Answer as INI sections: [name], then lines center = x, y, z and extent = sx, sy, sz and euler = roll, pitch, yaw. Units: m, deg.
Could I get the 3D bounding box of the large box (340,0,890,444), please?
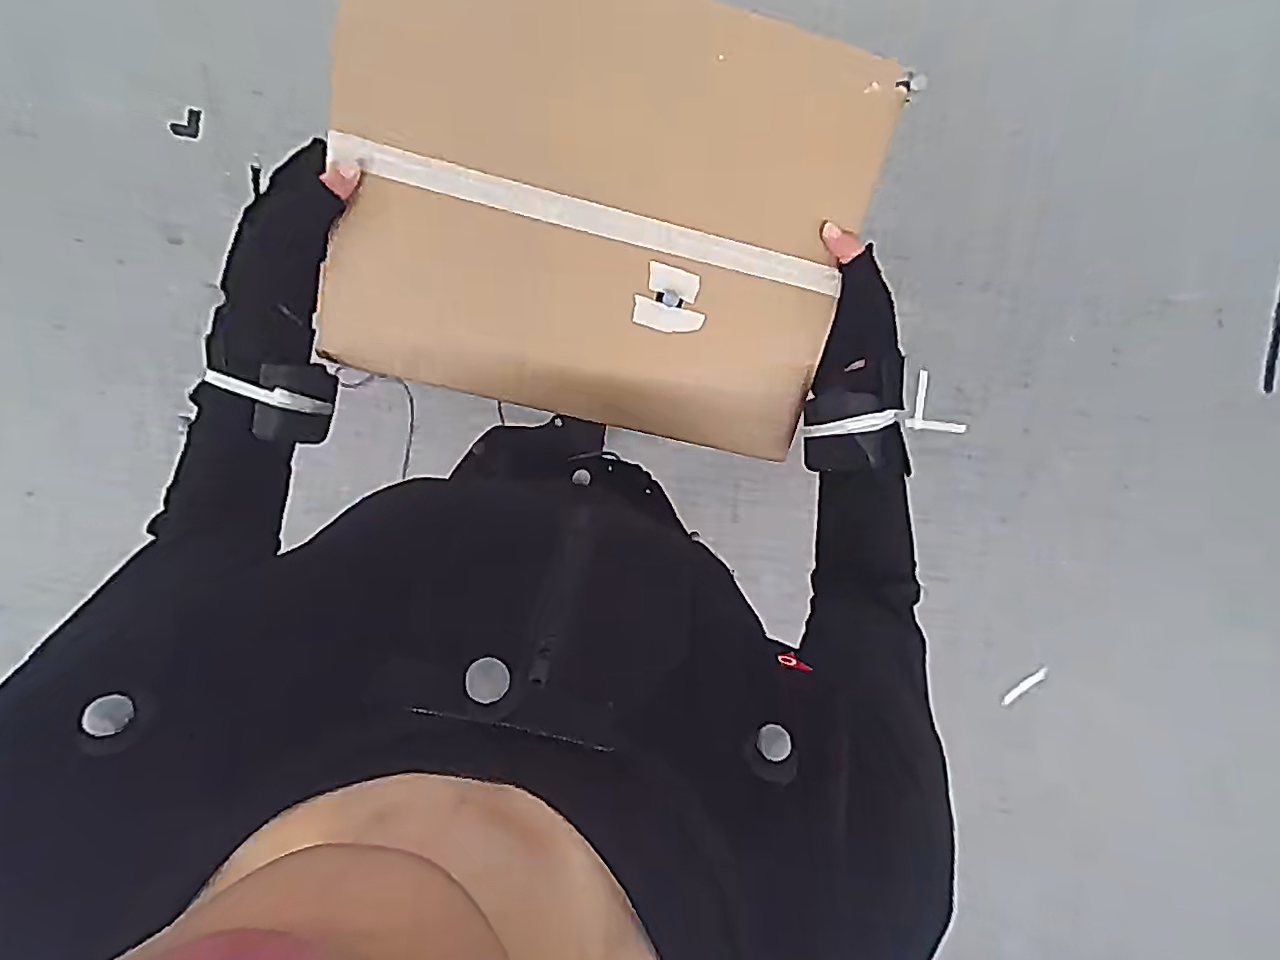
[large box]
center = -0.041, -0.256, 0.578
extent = 0.408, 0.320, 0.320
euler = 11, 108, -9
